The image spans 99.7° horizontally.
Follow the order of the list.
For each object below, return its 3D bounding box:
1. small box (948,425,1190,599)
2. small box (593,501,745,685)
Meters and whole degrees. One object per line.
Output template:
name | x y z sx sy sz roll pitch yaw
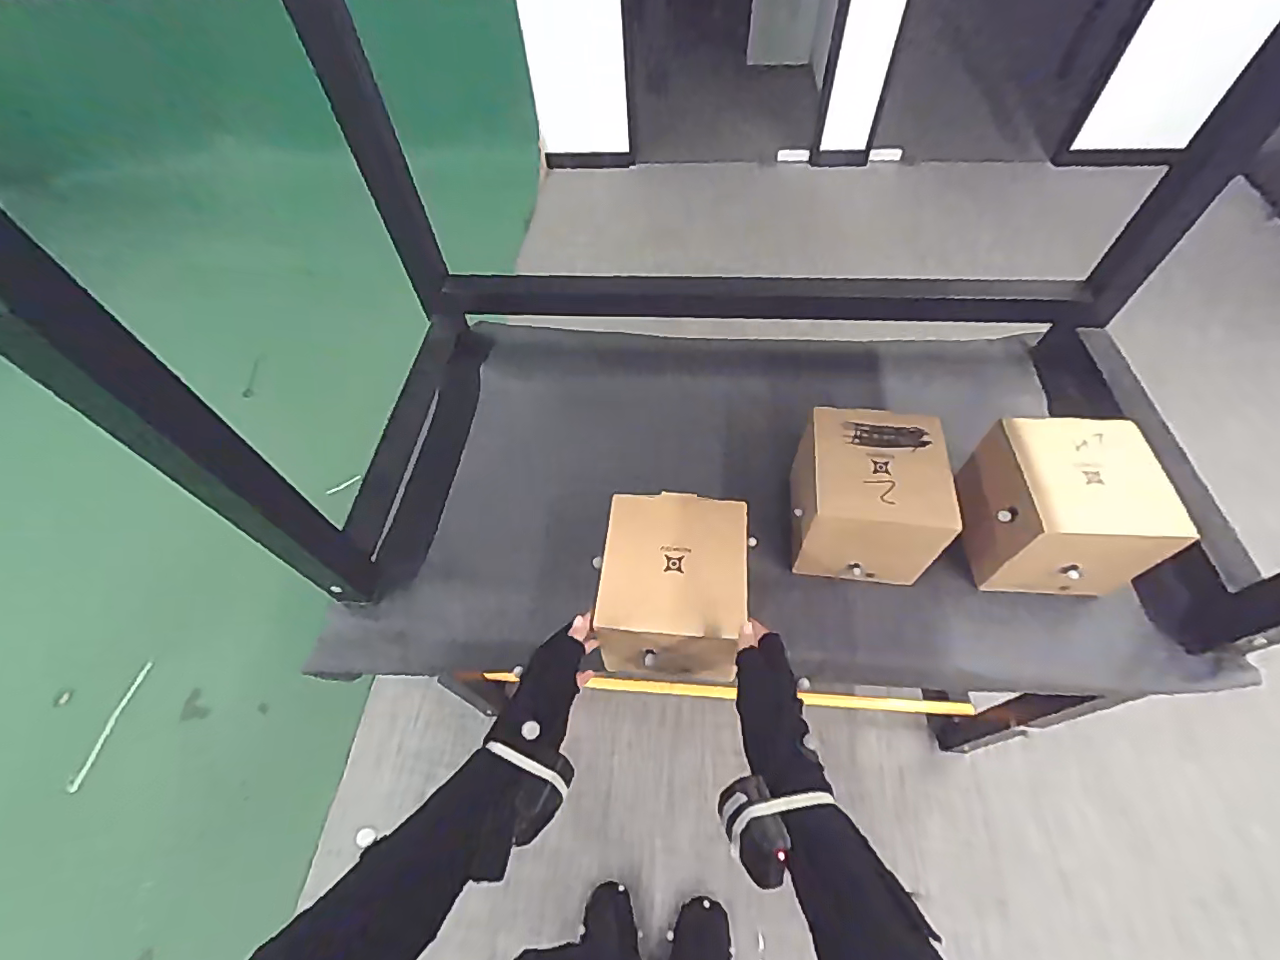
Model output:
small box | 0.548 0.047 0.725 0.168 0.176 0.179 2 54 4
small box | 0.043 0.147 0.685 0.168 0.176 0.179 3 54 5
